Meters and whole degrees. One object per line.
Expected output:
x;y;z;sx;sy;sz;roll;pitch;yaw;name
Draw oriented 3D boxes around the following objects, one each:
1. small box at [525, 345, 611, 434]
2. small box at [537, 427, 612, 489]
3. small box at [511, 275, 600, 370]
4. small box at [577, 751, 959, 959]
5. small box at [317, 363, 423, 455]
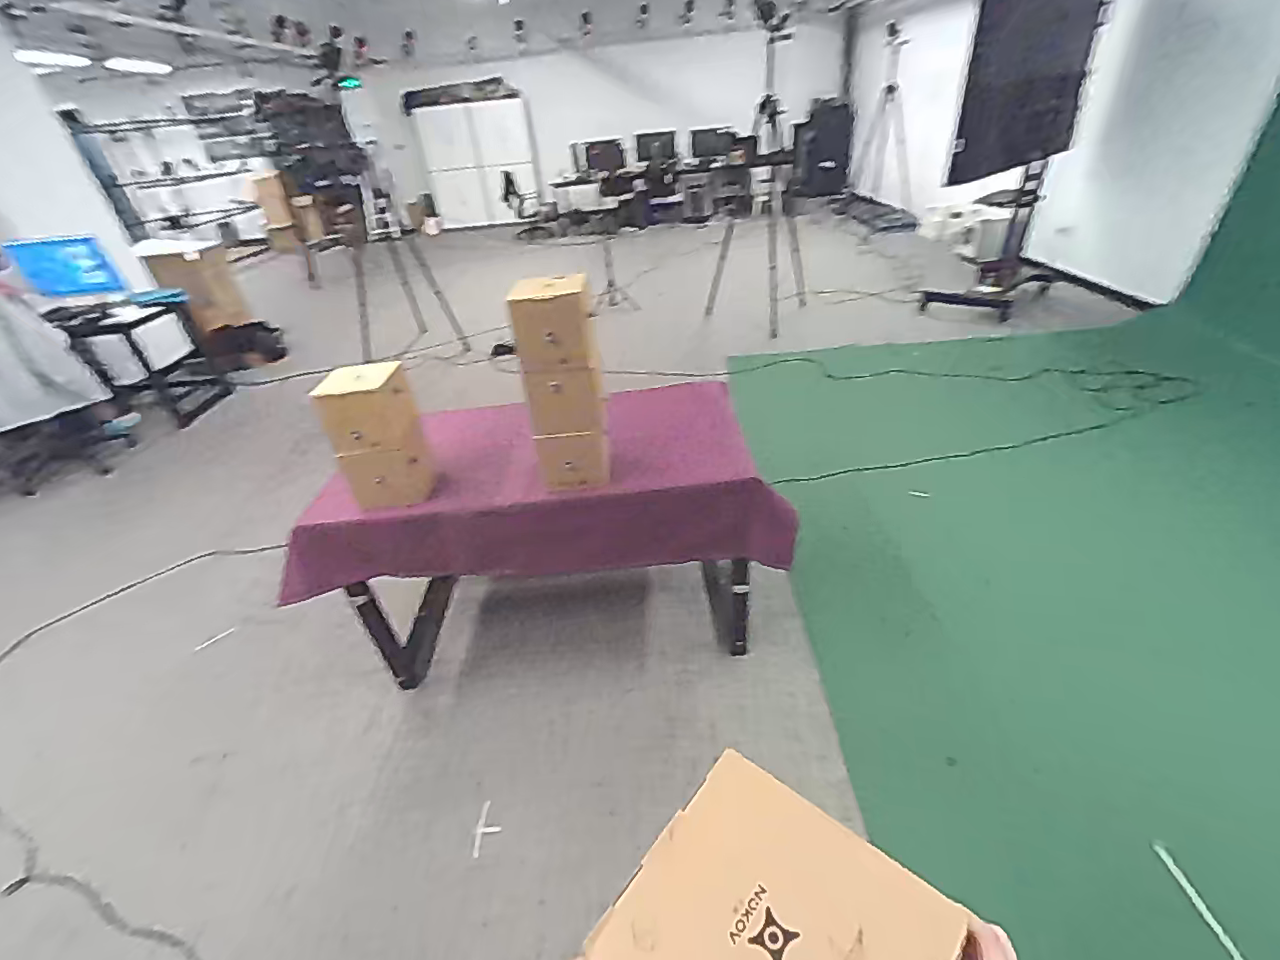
-0.172;-0.223;1.349;0.179;0.176;0.168;-3;34;3;small box
-0.165;-0.085;1.439;0.168;0.176;0.179;-4;34;3;small box
-0.188;-0.363;1.263;0.168;0.176;0.179;-4;35;3;small box
0.087;0.342;0.373;0.179;0.176;0.168;20;45;39;small box
-0.667;-0.180;1.364;0.168;0.176;0.179;-6;35;1;small box
